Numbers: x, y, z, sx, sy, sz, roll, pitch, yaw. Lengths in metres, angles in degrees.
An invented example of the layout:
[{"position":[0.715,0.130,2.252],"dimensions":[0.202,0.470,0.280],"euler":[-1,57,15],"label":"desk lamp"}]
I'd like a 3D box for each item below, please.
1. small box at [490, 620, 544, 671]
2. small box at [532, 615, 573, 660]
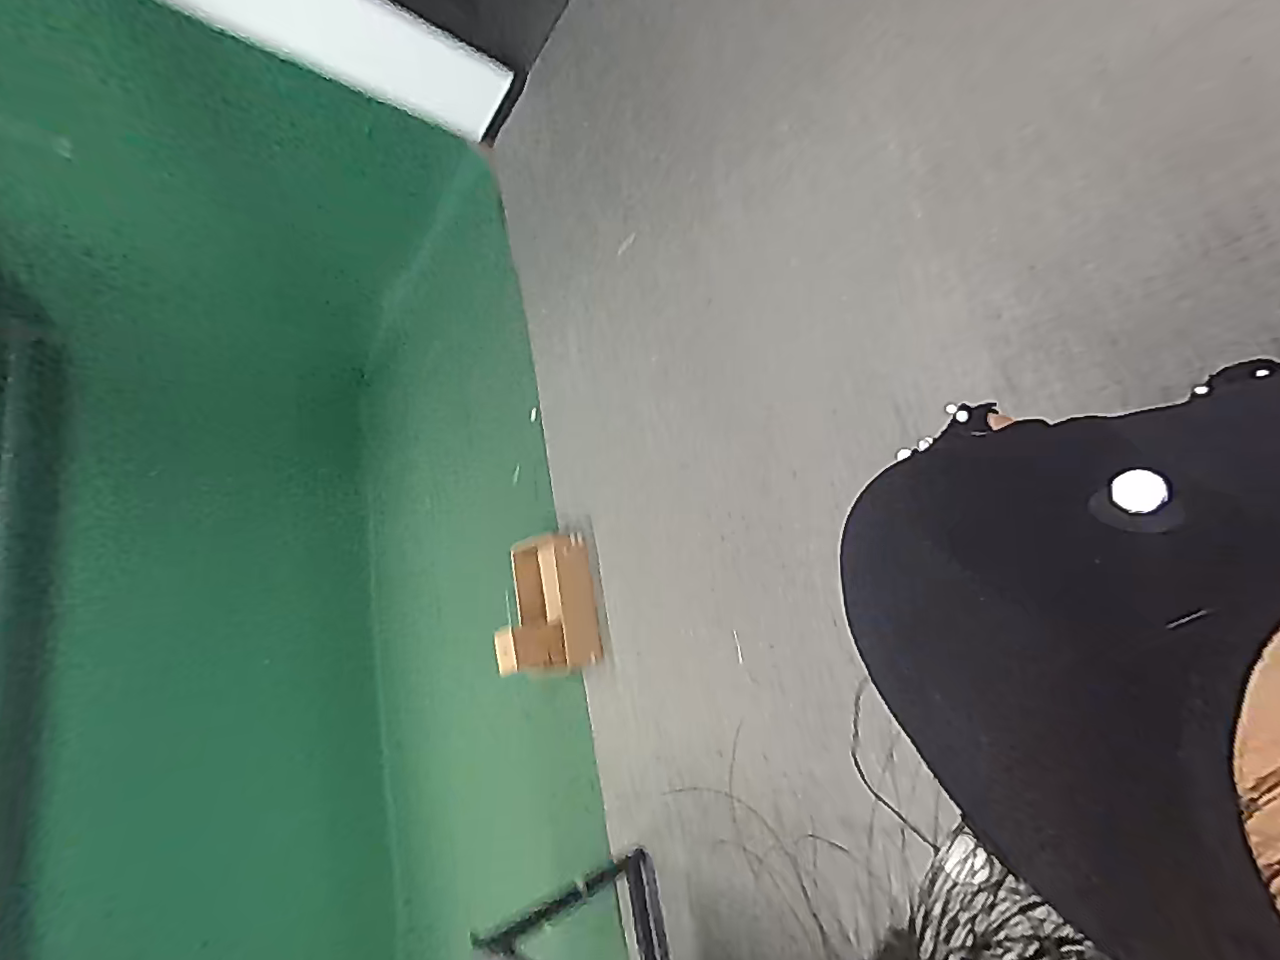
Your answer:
[{"position":[-0.552,0.743,2.430],"dimensions":[0.168,0.176,0.179],"euler":[-33,64,40],"label":"small box"},{"position":[-0.432,0.741,2.543],"dimensions":[0.168,0.176,0.179],"euler":[-20,75,45],"label":"small box"}]
